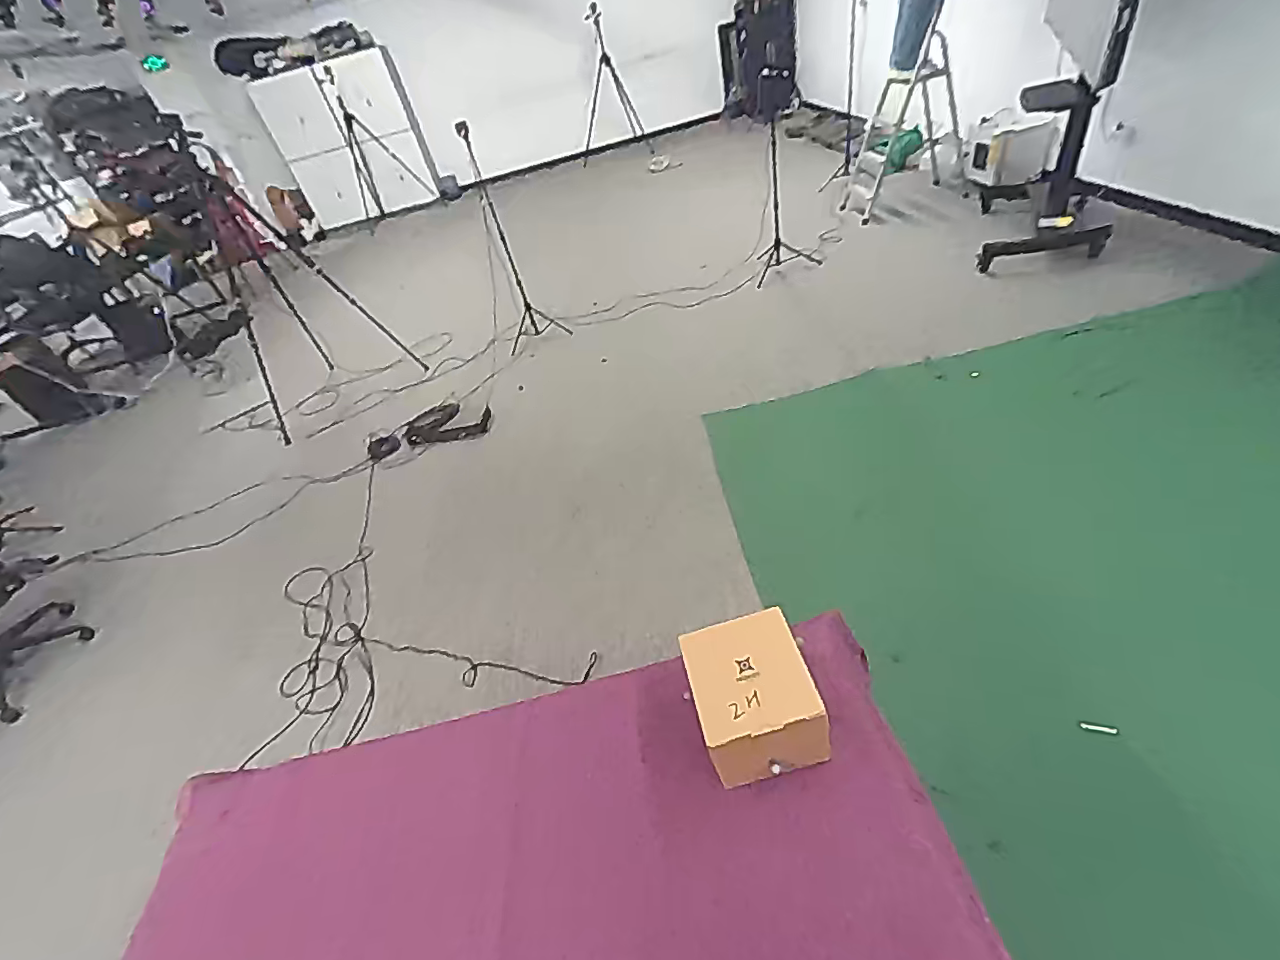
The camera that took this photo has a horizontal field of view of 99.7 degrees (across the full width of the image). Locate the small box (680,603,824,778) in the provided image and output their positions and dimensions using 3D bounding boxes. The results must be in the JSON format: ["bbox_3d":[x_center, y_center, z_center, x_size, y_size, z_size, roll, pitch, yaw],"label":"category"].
[{"bbox_3d":[0.172,0.326,0.836,0.168,0.176,0.179,-18,42,4],"label":"small box"}]
